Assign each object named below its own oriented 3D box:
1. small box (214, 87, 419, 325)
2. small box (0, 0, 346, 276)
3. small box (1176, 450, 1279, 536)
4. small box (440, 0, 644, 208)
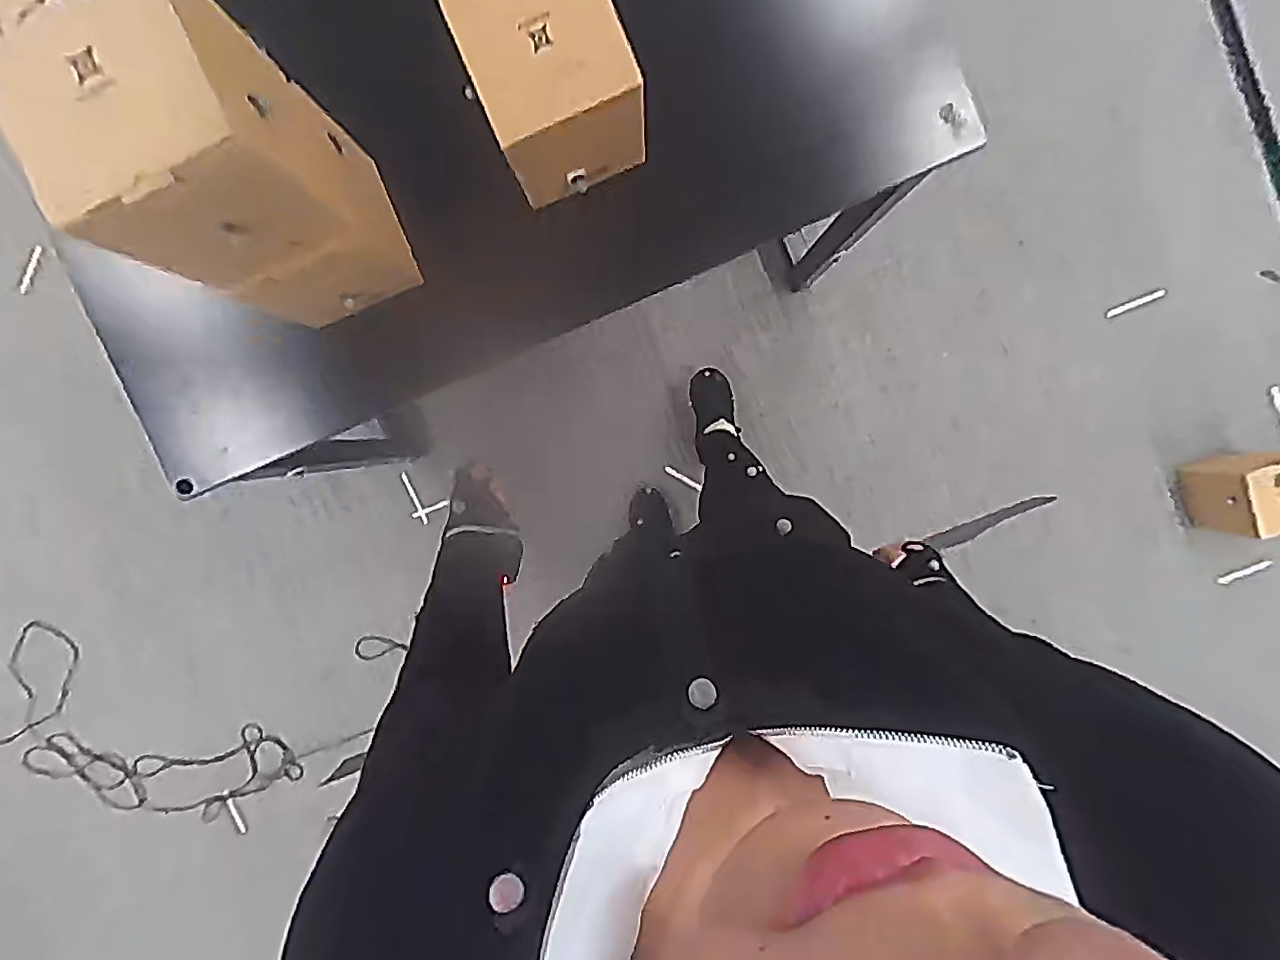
[{"bbox_3d":[-0.403,-0.311,0.653,0.168,0.176,0.179,-22,94,2],"label":"small box"},{"bbox_3d":[-0.410,-0.306,0.489,0.168,0.176,0.179,-25,94,2],"label":"small box"},{"bbox_3d":[1.549,0.026,1.391,0.168,0.176,0.179,-20,95,3],"label":"small box"},{"bbox_3d":[-0.103,-0.465,0.641,0.168,0.176,0.179,-24,94,4],"label":"small box"}]
